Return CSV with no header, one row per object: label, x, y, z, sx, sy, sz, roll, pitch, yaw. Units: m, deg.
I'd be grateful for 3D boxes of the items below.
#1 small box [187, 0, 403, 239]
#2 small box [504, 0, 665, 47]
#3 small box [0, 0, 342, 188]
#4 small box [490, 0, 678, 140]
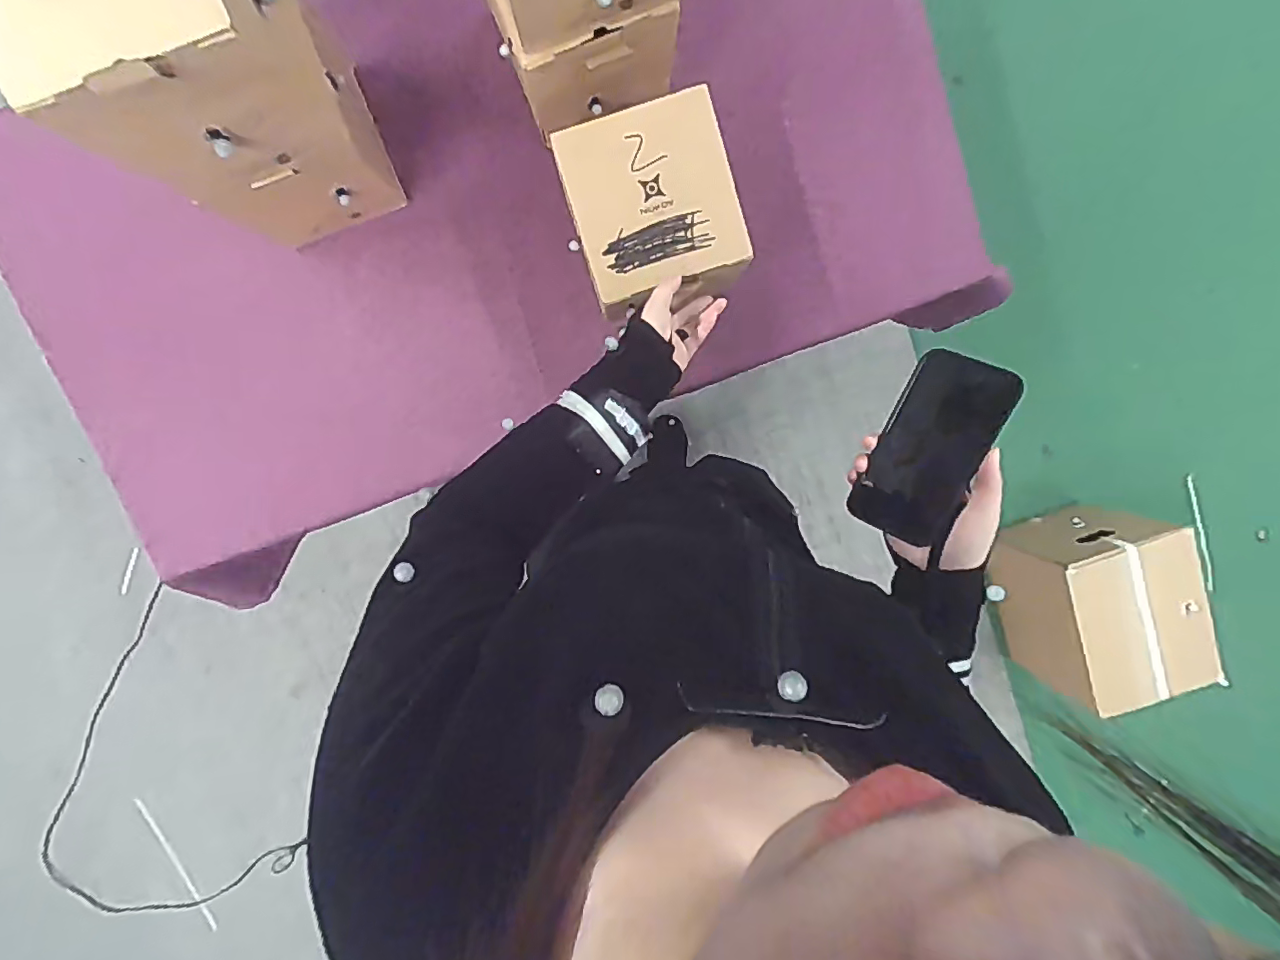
small box,-0.396,-0.390,0.602,0.168,0.176,0.179,-20,98,0
small box,-0.063,-0.507,0.427,0.168,0.176,0.179,-20,99,2
small box,-0.384,-0.367,0.439,0.168,0.176,0.179,-20,99,0
small box,-0.073,-0.522,0.591,0.168,0.176,0.179,-22,99,1
